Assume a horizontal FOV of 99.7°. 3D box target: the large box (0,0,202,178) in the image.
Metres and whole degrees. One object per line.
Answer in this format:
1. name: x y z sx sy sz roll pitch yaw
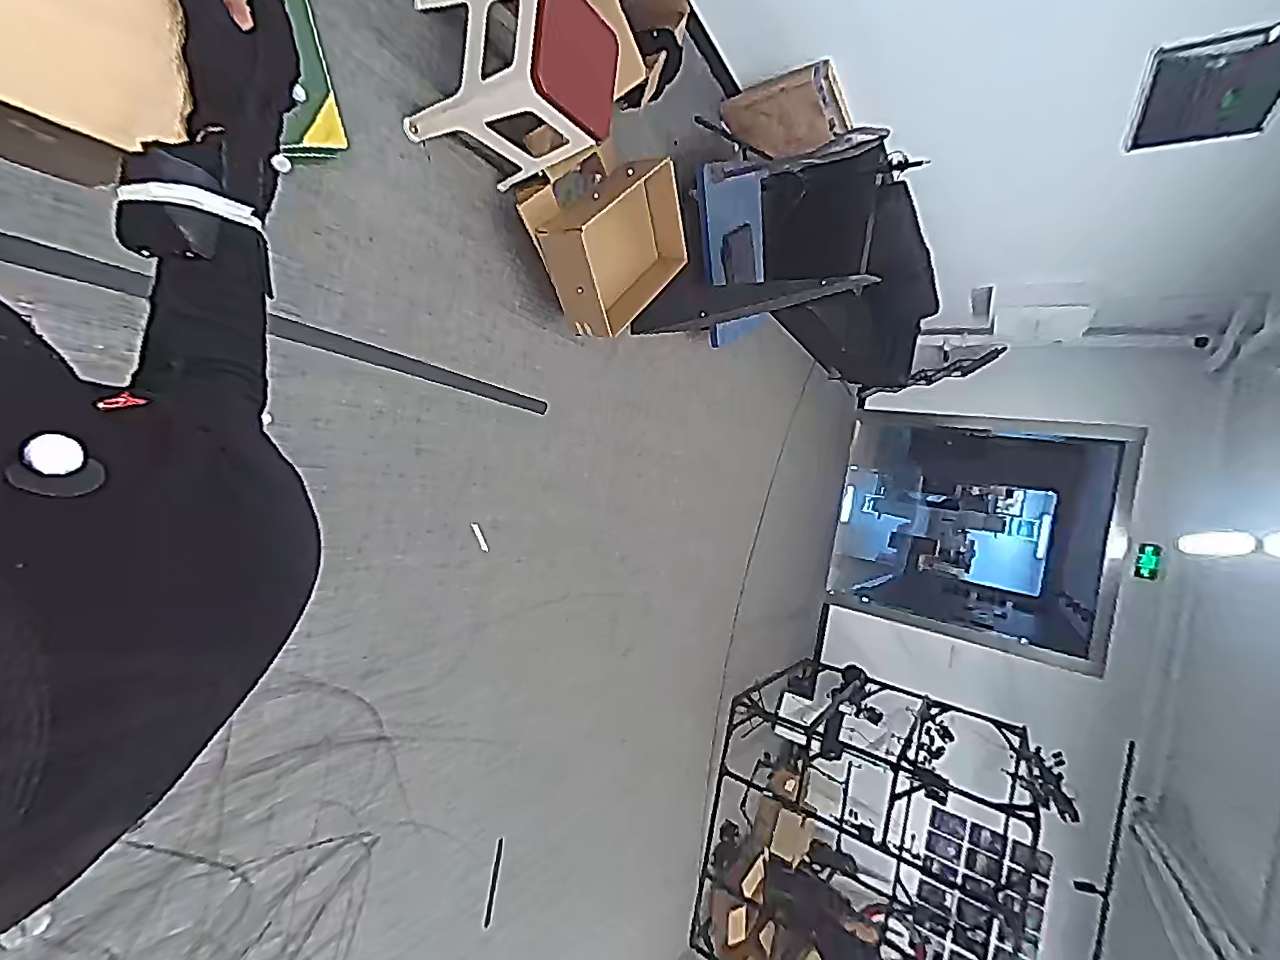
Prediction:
1. large box: -0.547 -0.429 0.311 0.408 0.320 0.320 3 103 -56
